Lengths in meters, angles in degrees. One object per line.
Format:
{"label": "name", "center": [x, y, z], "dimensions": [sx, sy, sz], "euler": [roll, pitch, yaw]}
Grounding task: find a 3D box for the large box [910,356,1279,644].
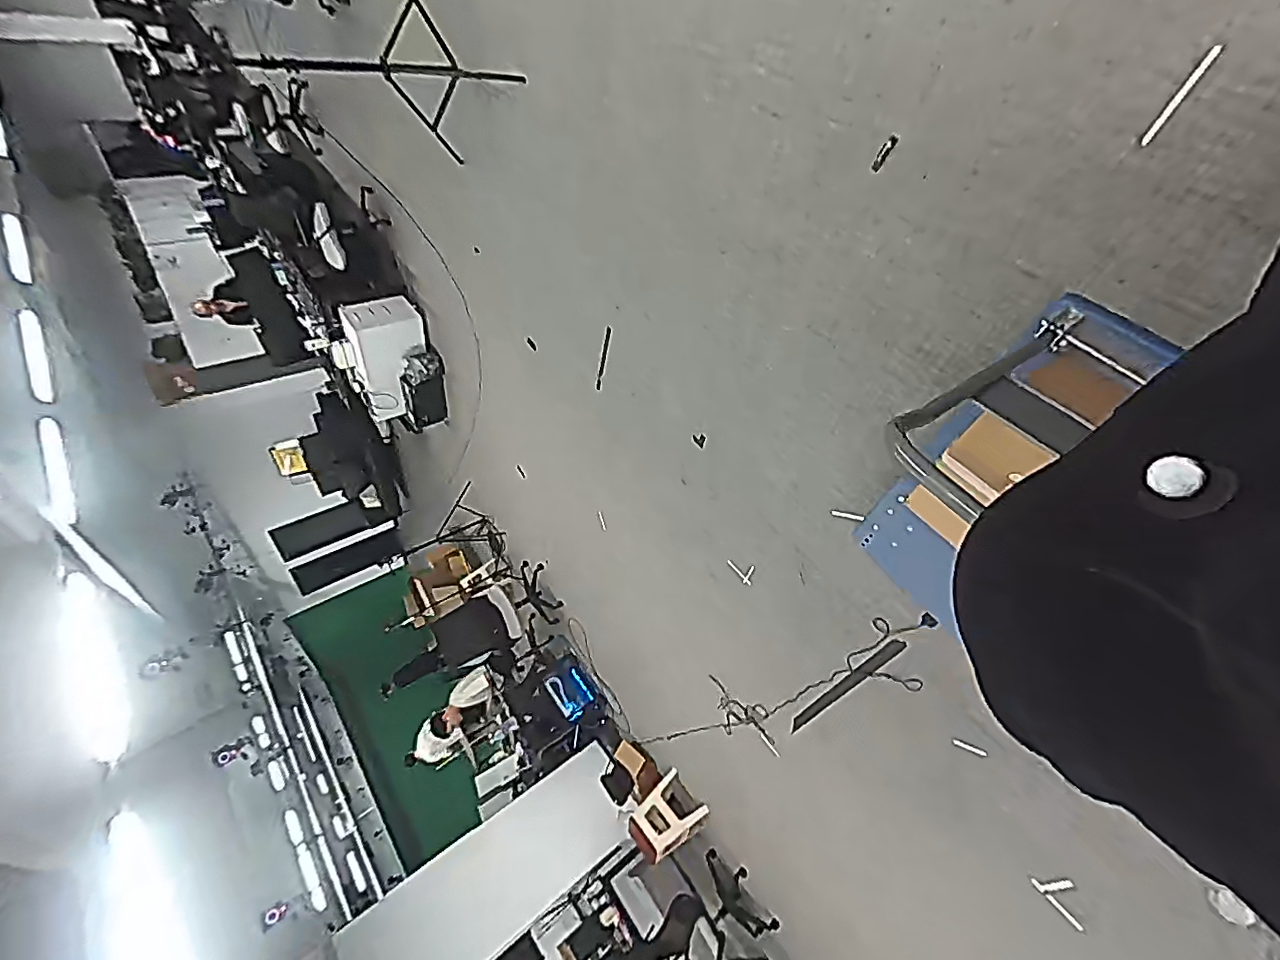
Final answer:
{"label": "large box", "center": [0.849, 0.025, 1.052], "dimensions": [0.408, 0.320, 0.320], "euler": [49, 146, 26]}
